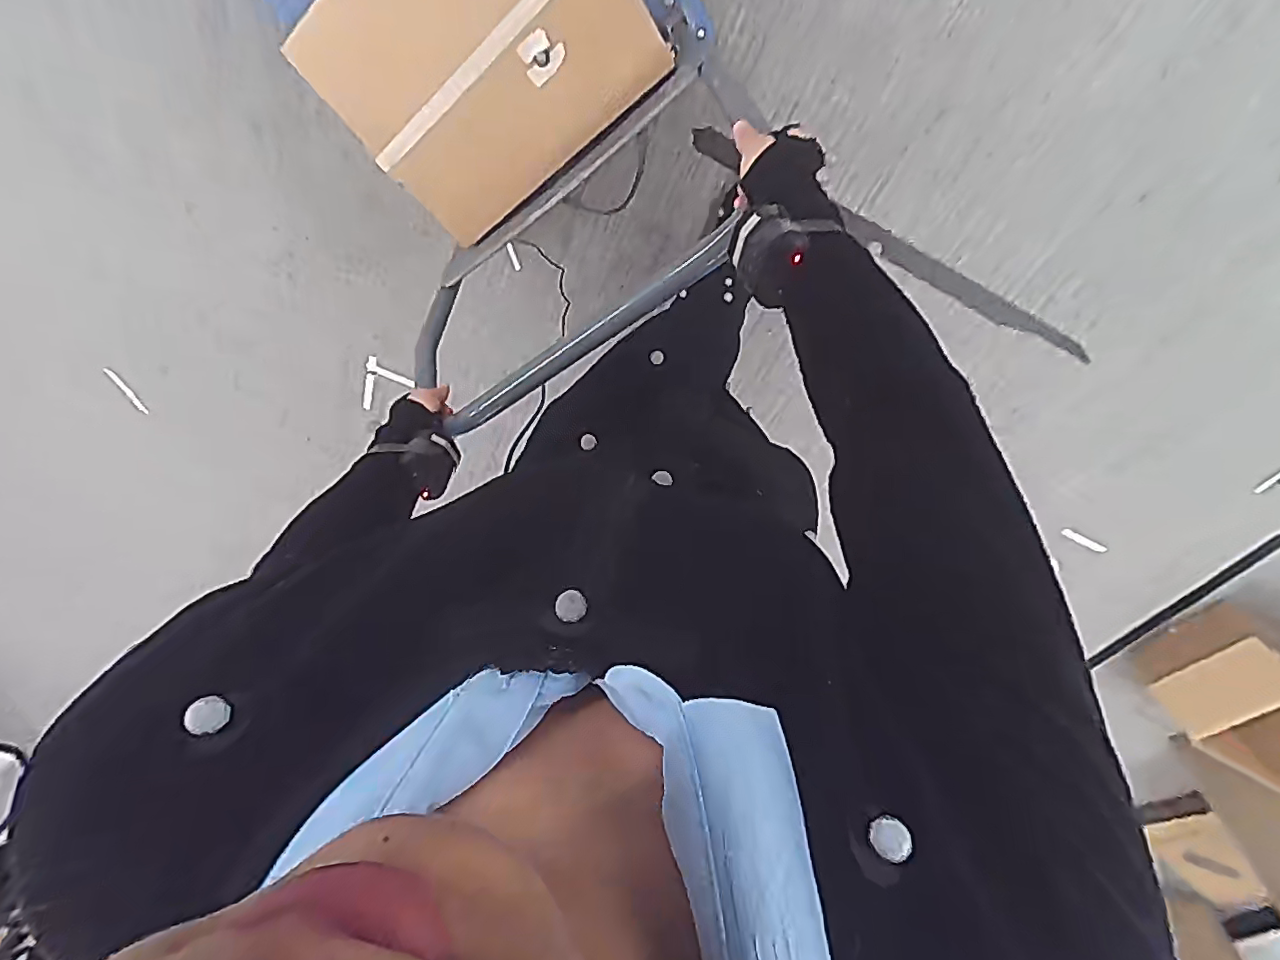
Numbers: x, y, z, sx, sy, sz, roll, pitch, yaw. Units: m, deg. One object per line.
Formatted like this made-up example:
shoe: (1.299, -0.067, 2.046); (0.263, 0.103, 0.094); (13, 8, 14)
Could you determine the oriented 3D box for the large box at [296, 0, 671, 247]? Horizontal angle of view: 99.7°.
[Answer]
large box: (-0.208, -0.649, 0.817); (0.408, 0.320, 0.320); (-30, 128, 23)
